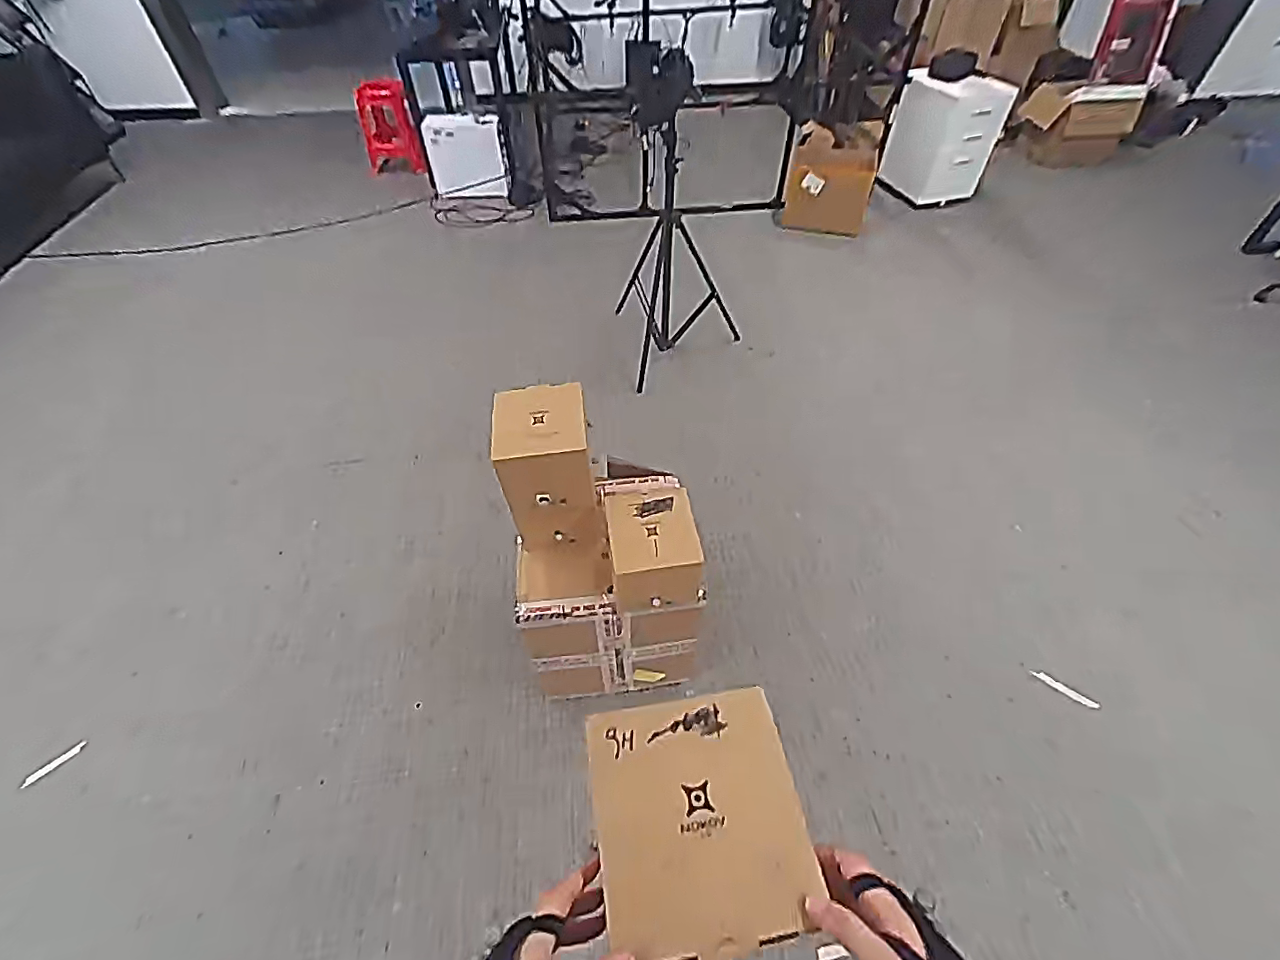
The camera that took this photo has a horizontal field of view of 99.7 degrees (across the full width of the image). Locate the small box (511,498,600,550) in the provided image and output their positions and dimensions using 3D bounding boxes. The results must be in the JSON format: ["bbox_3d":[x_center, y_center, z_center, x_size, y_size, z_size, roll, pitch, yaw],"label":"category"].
[{"bbox_3d":[-0.180,0.028,1.170,0.168,0.176,0.179,-7,52,-3],"label":"small box"}]

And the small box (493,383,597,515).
[{"bbox_3d":[-0.175,-0.057,1.029,0.168,0.176,0.179,-8,53,-3],"label":"small box"}]

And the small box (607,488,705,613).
[{"bbox_3d":[0.024,0.141,1.076,0.168,0.176,0.179,-7,53,-5],"label":"small box"}]
